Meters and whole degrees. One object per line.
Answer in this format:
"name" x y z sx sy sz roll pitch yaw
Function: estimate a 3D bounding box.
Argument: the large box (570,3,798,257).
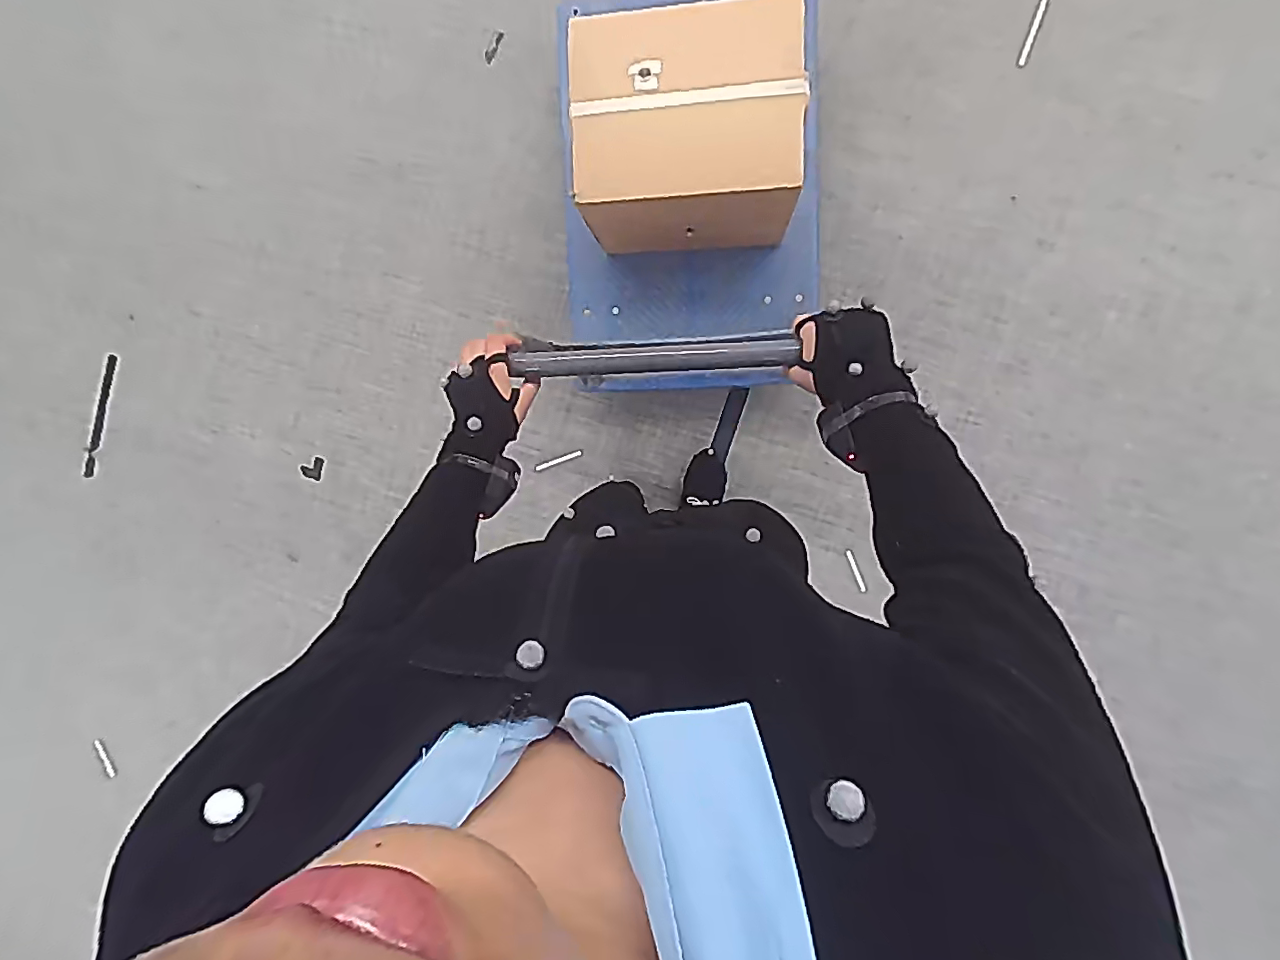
"large box" 0.096 -0.669 1.105 0.408 0.320 0.320 -1 95 8
